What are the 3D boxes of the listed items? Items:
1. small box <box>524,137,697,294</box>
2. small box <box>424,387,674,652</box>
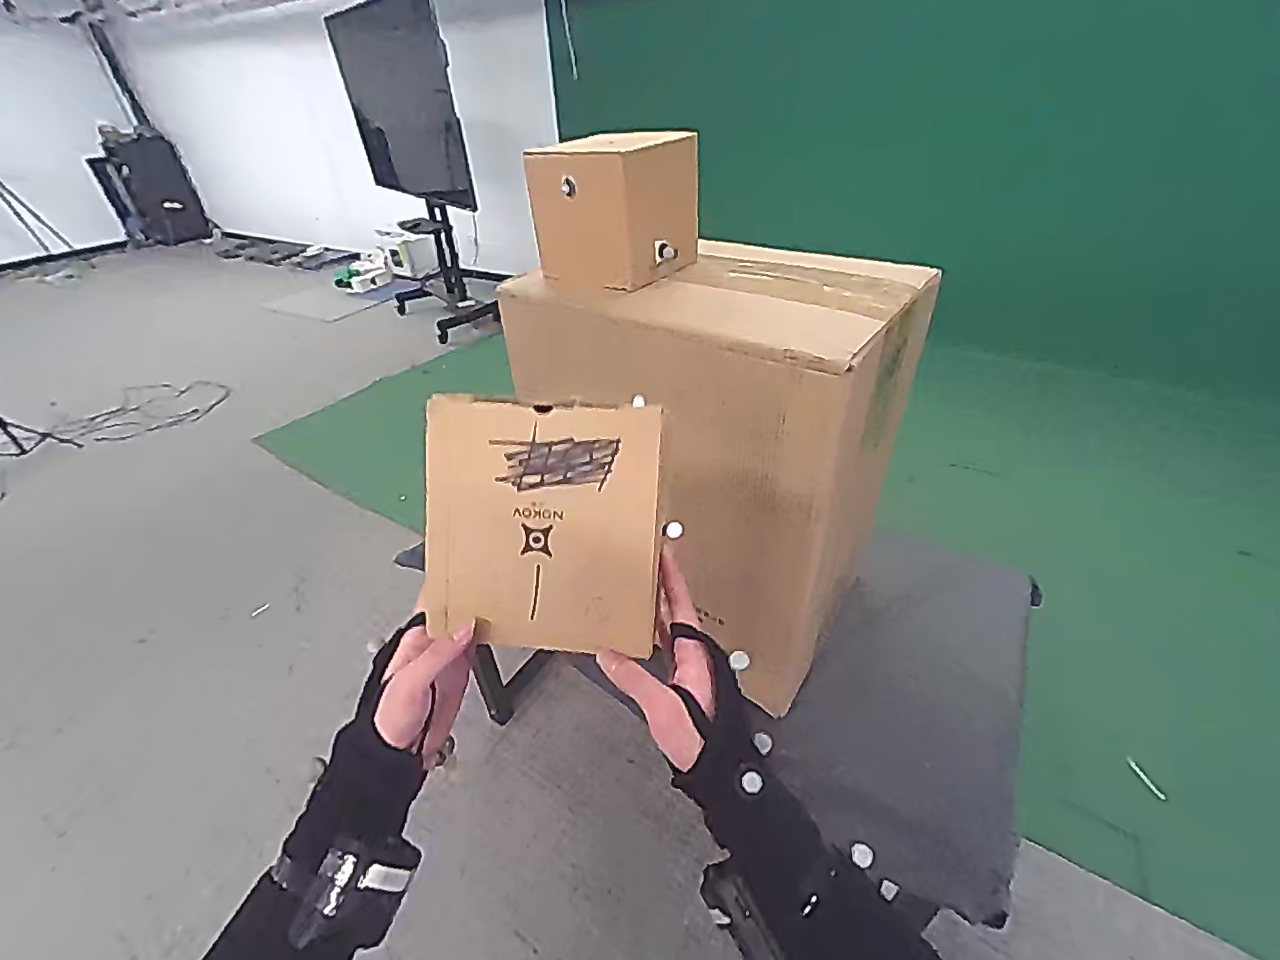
[{"bbox_3d":[-0.035,-0.379,0.770,0.179,0.176,0.168,23,46,29],"label":"small box"},{"bbox_3d":[-0.061,0.019,0.452,0.168,0.179,0.176,4,8,6],"label":"small box"}]
